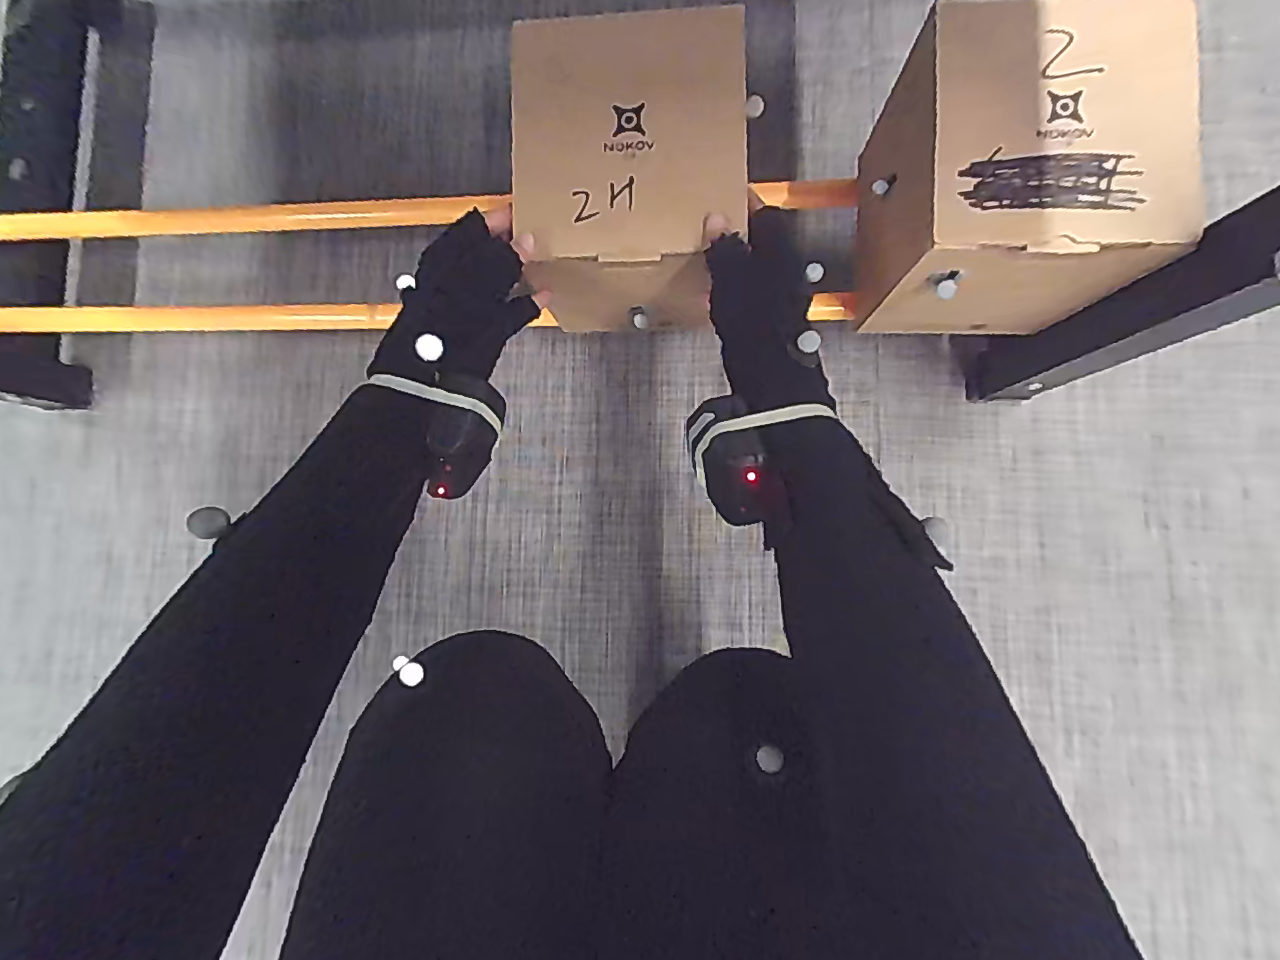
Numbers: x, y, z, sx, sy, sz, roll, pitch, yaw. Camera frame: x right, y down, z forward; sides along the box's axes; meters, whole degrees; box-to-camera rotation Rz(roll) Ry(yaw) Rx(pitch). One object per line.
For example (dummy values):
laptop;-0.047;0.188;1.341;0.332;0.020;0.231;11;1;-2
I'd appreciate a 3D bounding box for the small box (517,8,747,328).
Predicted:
small box;0.000;-0.244;0.464;0.168;0.176;0.179;-1;87;5
